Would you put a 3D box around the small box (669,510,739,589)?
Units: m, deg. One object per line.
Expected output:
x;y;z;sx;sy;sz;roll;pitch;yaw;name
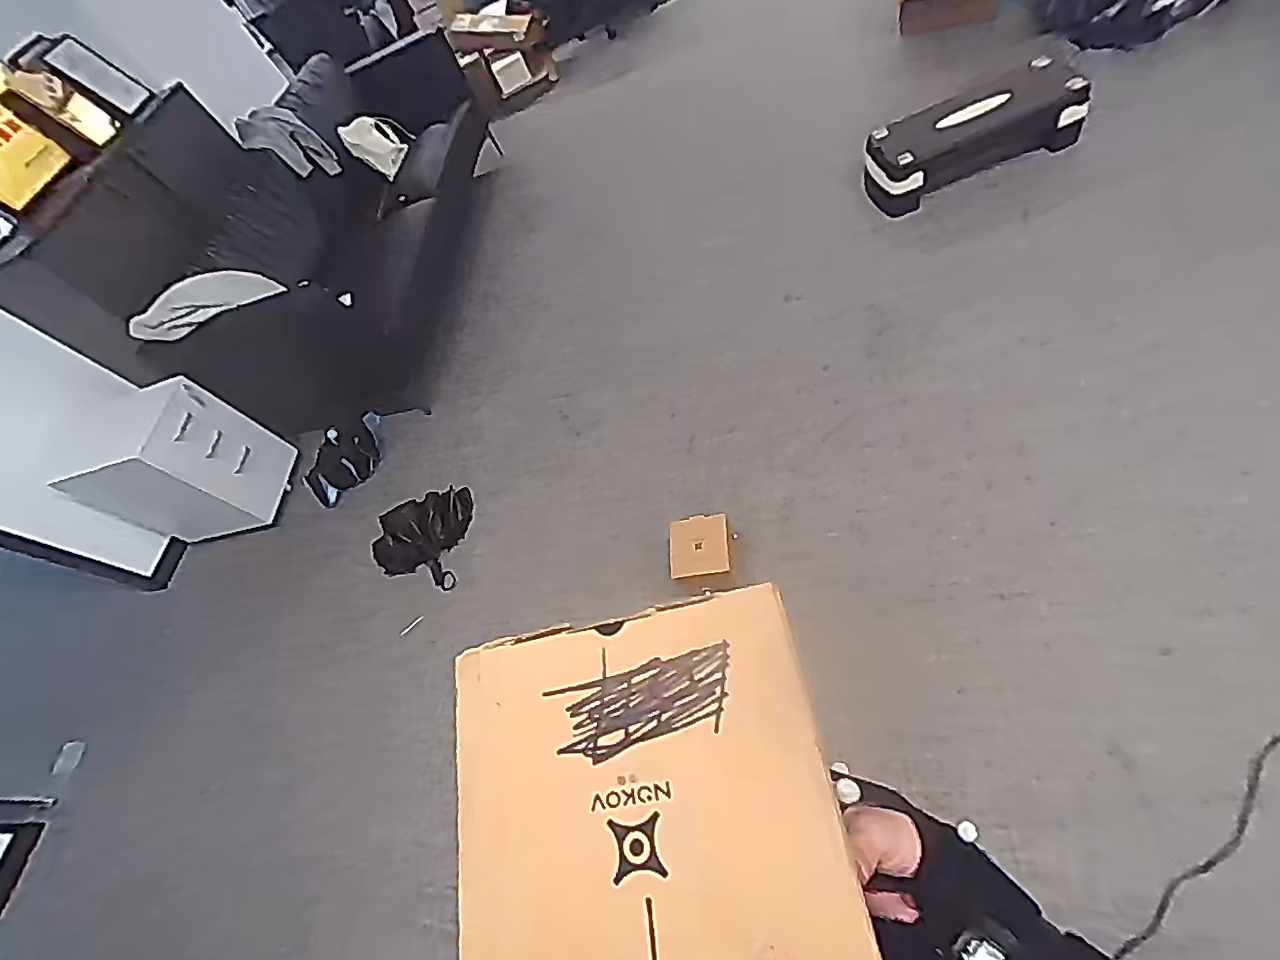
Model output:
0.186;0.210;1.568;0.168;0.176;0.179;-12;58;18;small box

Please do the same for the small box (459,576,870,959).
0.015;0.173;0.308;0.168;0.176;0.179;-14;64;8;small box
